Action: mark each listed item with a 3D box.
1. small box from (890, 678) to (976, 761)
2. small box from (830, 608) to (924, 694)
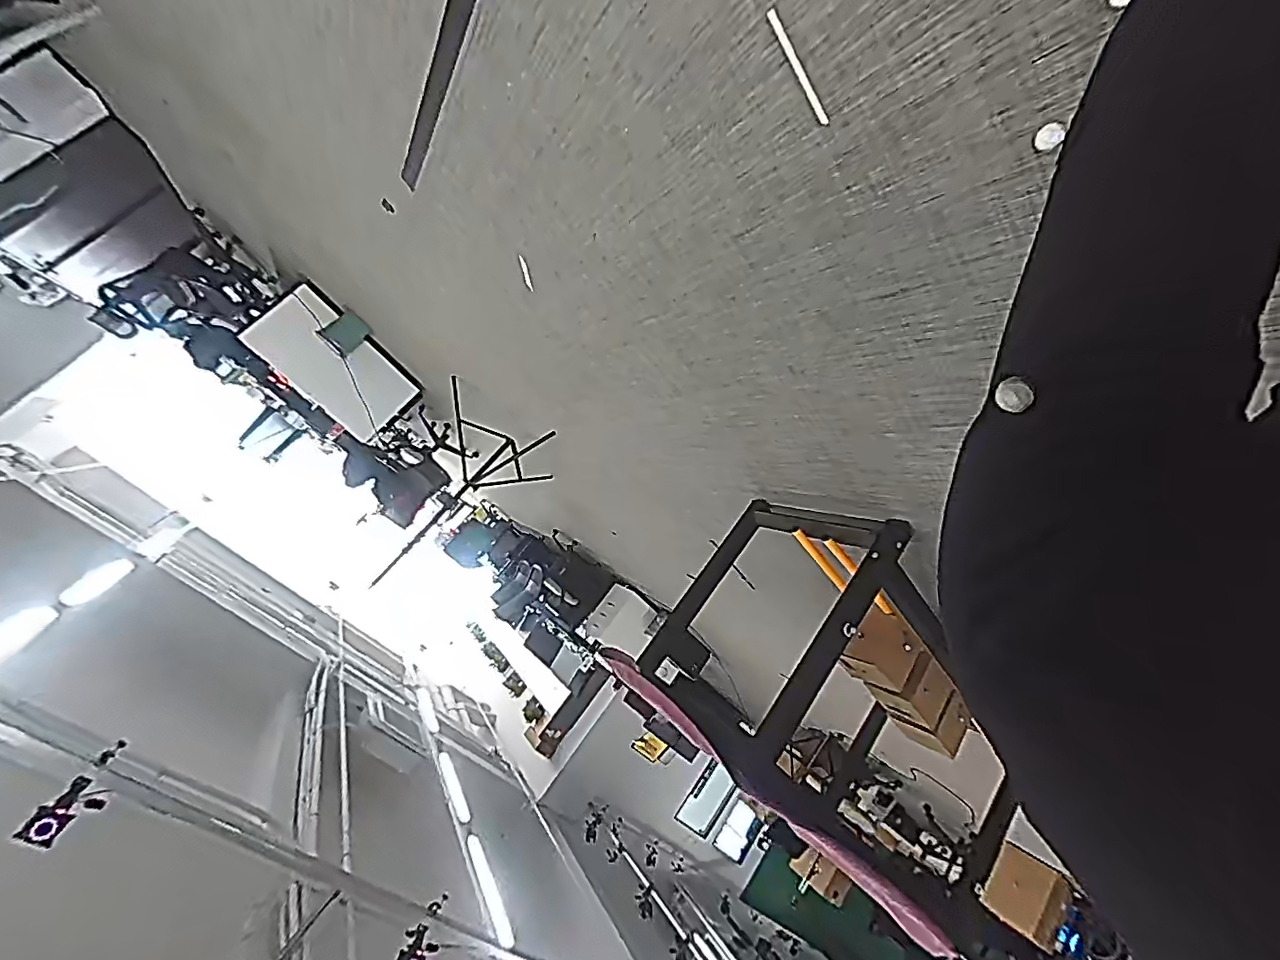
[{"bbox_3d":[0.989,0.797,1.820,0.168,0.176,0.179,47,159,-24],"label":"small box"},{"bbox_3d":[0.723,0.512,1.648,0.168,0.176,0.179,45,159,-23],"label":"small box"}]
